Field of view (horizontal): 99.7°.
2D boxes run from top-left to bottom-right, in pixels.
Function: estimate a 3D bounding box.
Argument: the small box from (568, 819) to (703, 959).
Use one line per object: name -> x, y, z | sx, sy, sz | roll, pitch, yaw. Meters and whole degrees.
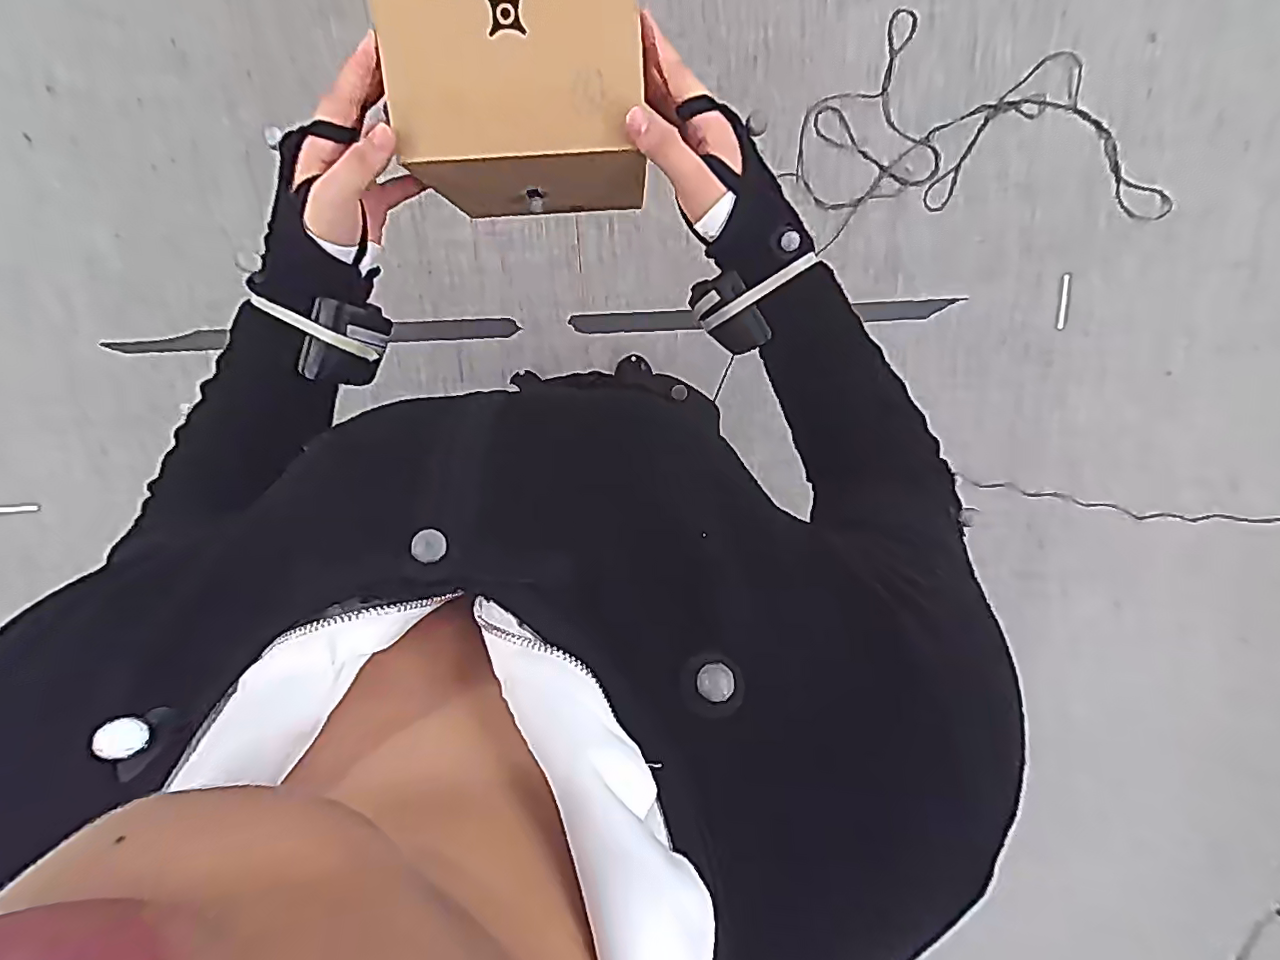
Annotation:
small box -> -0.003, 0.657, 0.820 | 0.179, 0.176, 0.168 | -9, 103, -1
